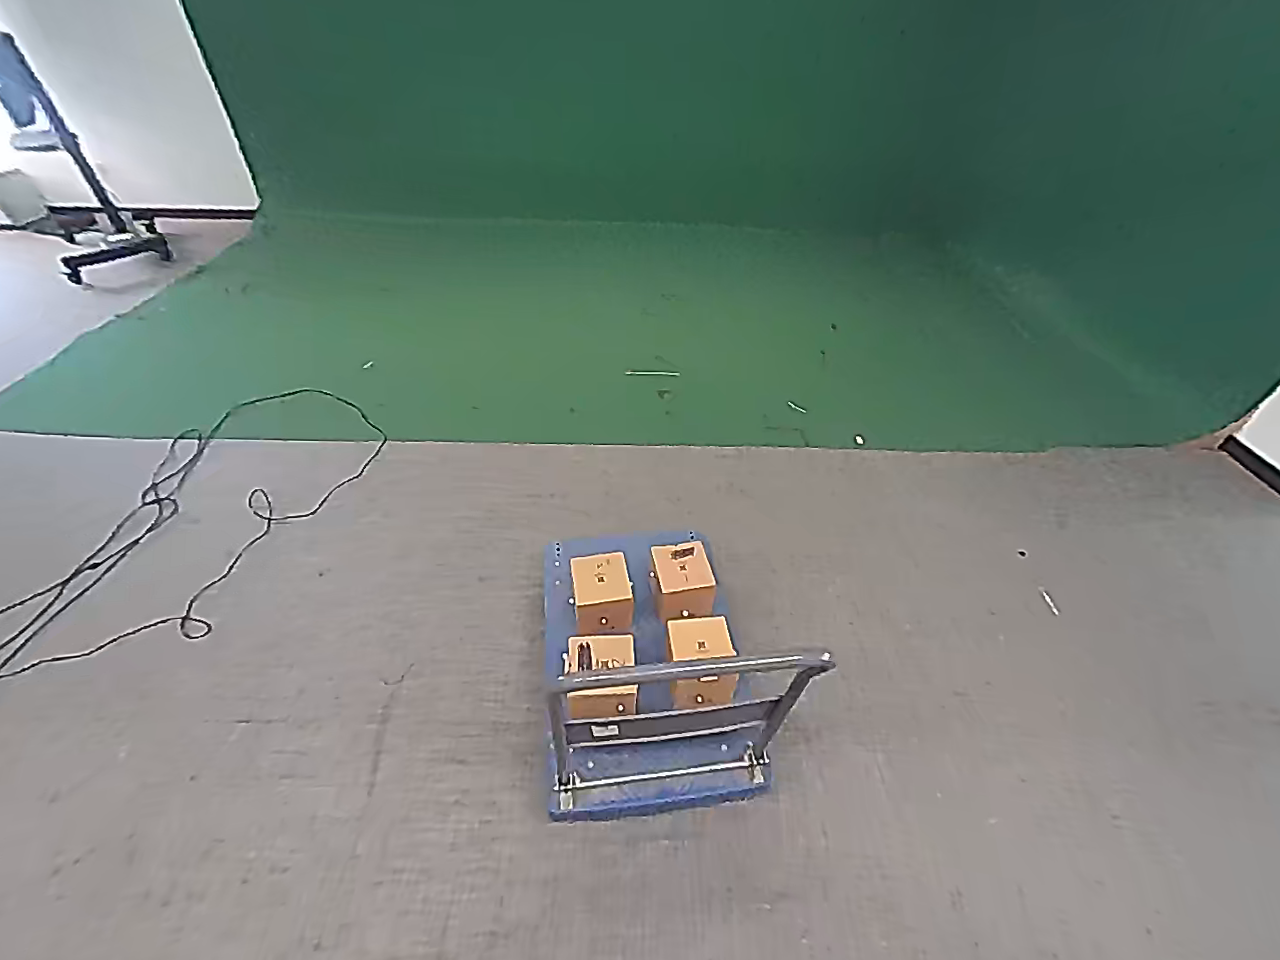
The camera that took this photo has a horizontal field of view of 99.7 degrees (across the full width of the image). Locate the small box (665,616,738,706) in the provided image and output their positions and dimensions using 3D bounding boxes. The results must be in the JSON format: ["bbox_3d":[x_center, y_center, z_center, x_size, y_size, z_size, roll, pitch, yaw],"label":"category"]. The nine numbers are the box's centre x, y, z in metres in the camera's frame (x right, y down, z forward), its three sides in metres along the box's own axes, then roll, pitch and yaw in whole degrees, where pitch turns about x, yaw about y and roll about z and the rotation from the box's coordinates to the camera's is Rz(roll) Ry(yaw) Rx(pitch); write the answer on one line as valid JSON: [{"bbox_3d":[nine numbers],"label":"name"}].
[{"bbox_3d":[0.165,0.509,1.520,0.168,0.176,0.179,-3,44,-6],"label":"small box"}]

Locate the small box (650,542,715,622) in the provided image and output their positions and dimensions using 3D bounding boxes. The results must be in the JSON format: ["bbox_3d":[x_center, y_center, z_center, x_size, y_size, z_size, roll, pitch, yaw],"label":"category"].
[{"bbox_3d":[0.128,0.324,1.714,0.168,0.176,0.179,-7,45,-8],"label":"small box"}]

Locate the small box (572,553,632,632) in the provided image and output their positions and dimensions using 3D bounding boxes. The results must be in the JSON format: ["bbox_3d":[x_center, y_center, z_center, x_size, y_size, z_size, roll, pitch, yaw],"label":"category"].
[{"bbox_3d":[-0.119,0.353,1.672,0.168,0.176,0.179,-6,44,-10],"label":"small box"}]
